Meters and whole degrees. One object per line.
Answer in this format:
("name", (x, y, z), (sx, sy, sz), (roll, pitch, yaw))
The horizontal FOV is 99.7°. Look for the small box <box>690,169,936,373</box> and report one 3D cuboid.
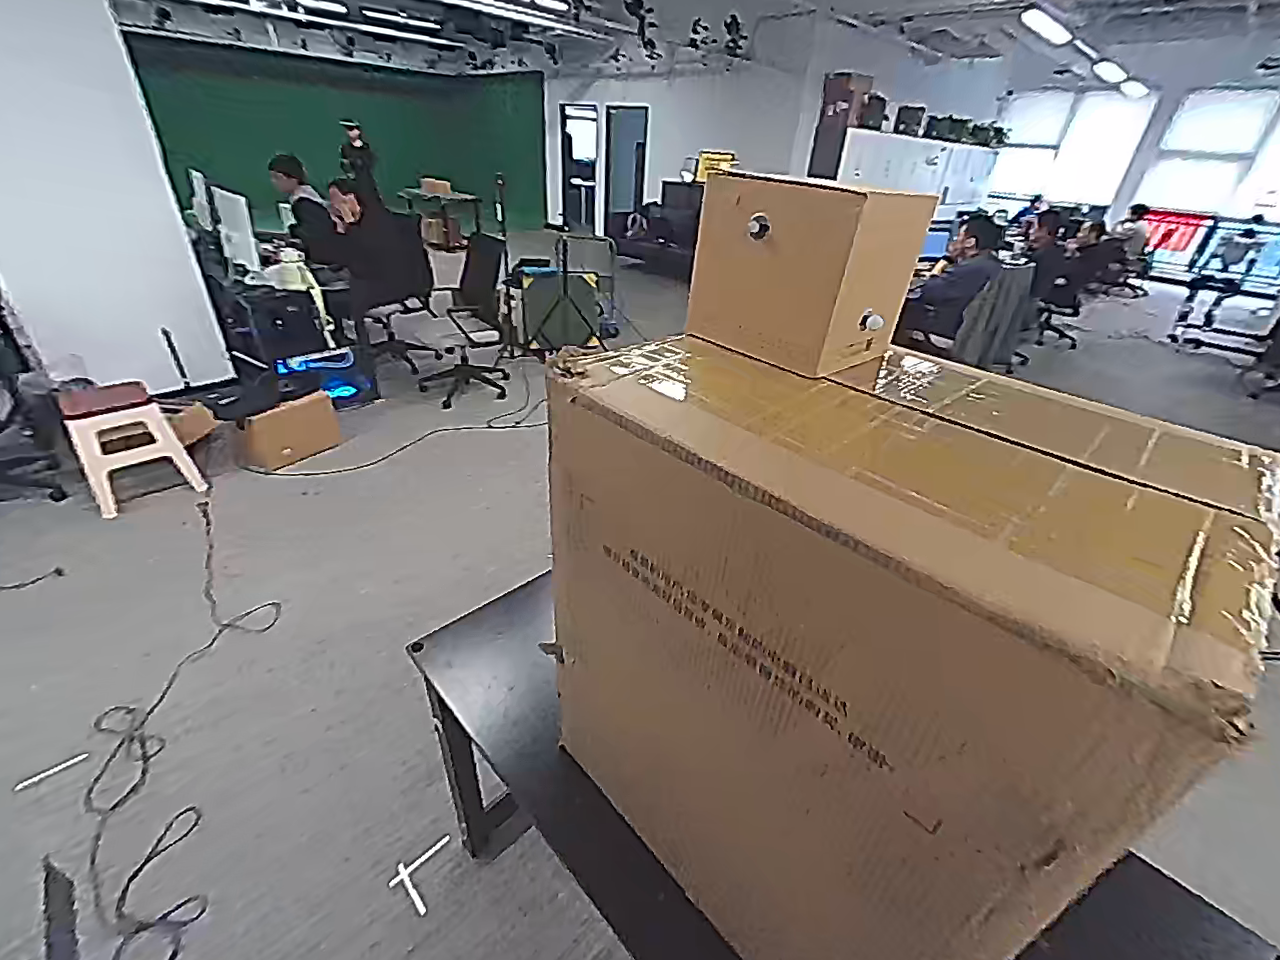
("small box", (0.174, -0.228, 0.585), (0.168, 0.176, 0.179), (-23, 42, -39))
